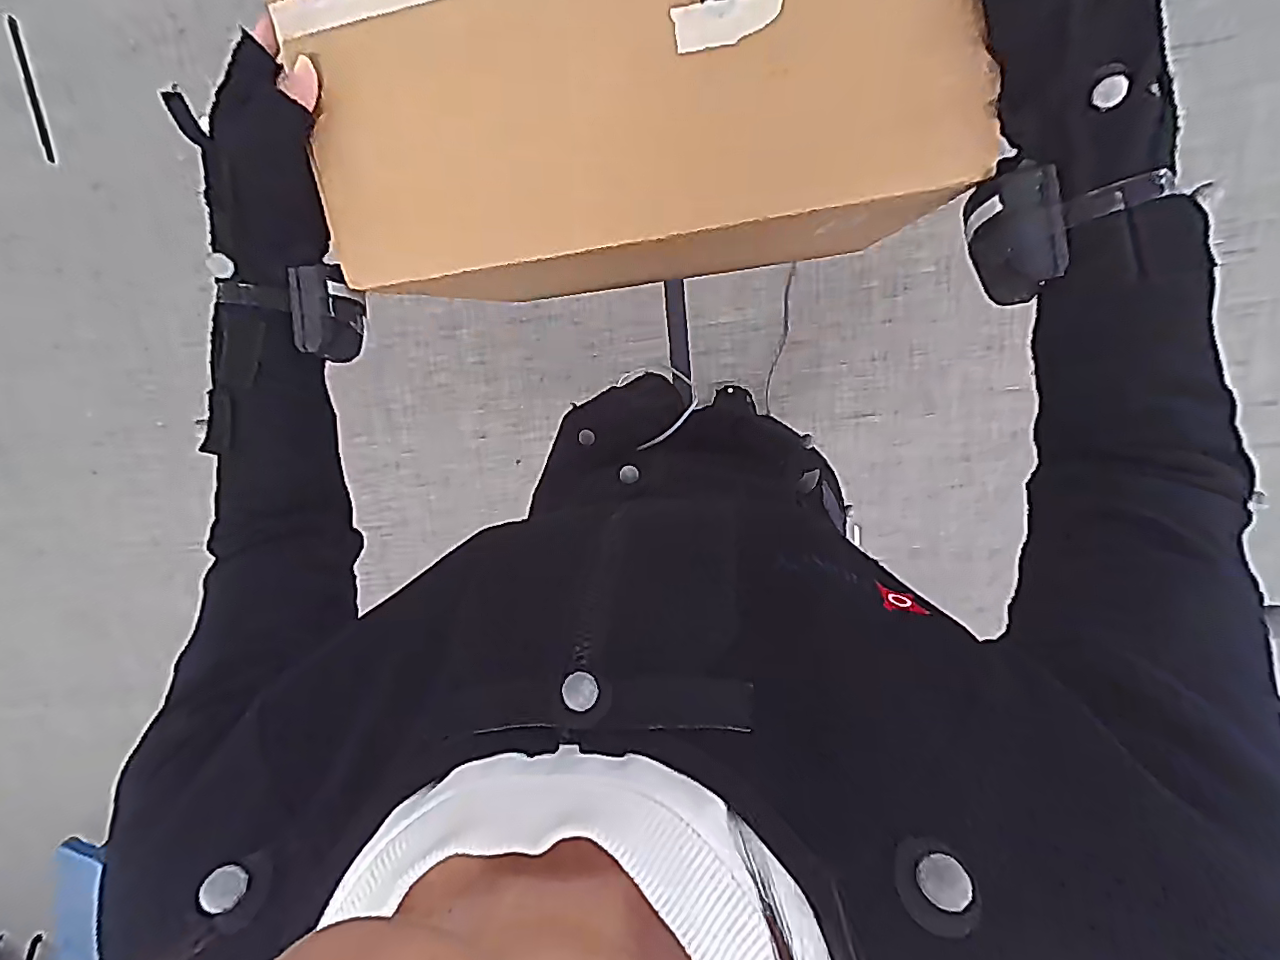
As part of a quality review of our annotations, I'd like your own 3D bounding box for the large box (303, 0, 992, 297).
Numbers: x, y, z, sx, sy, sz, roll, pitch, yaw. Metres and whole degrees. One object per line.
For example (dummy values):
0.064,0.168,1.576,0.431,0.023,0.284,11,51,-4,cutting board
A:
0.004,-0.349,0.446,0.408,0.320,0.320,-5,106,11,large box
